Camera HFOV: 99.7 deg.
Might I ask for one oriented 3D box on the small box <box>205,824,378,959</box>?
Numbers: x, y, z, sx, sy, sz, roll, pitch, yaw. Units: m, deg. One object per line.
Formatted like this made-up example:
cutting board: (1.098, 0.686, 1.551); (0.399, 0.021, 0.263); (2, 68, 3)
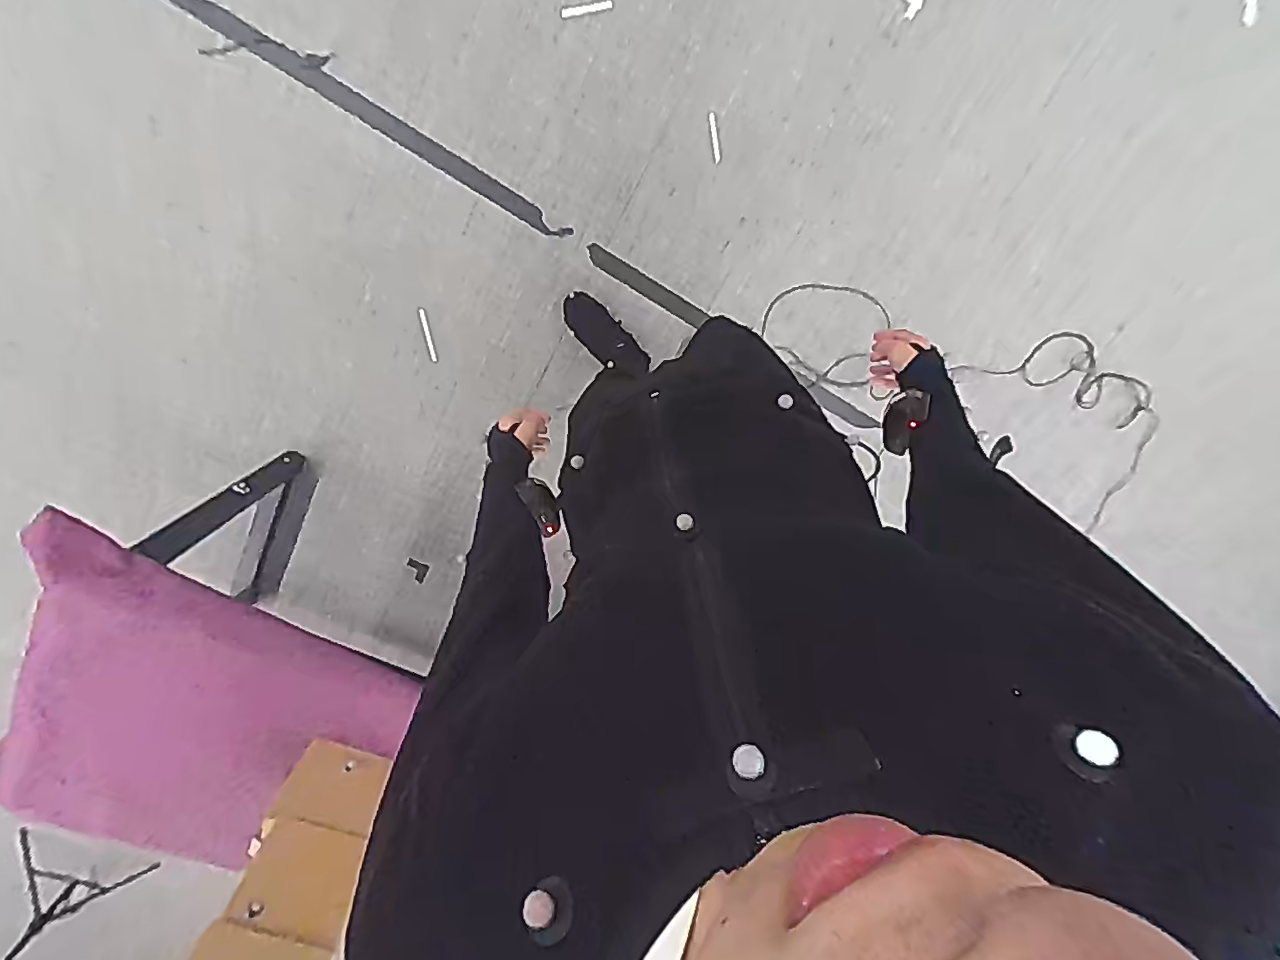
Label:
small box: (-0.558, 0.699, 0.877); (0.179, 0.176, 0.168); (25, 110, -12)

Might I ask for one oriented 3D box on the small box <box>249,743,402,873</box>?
small box: (-0.587, 0.637, 1.026); (0.179, 0.176, 0.168); (25, 110, -11)
